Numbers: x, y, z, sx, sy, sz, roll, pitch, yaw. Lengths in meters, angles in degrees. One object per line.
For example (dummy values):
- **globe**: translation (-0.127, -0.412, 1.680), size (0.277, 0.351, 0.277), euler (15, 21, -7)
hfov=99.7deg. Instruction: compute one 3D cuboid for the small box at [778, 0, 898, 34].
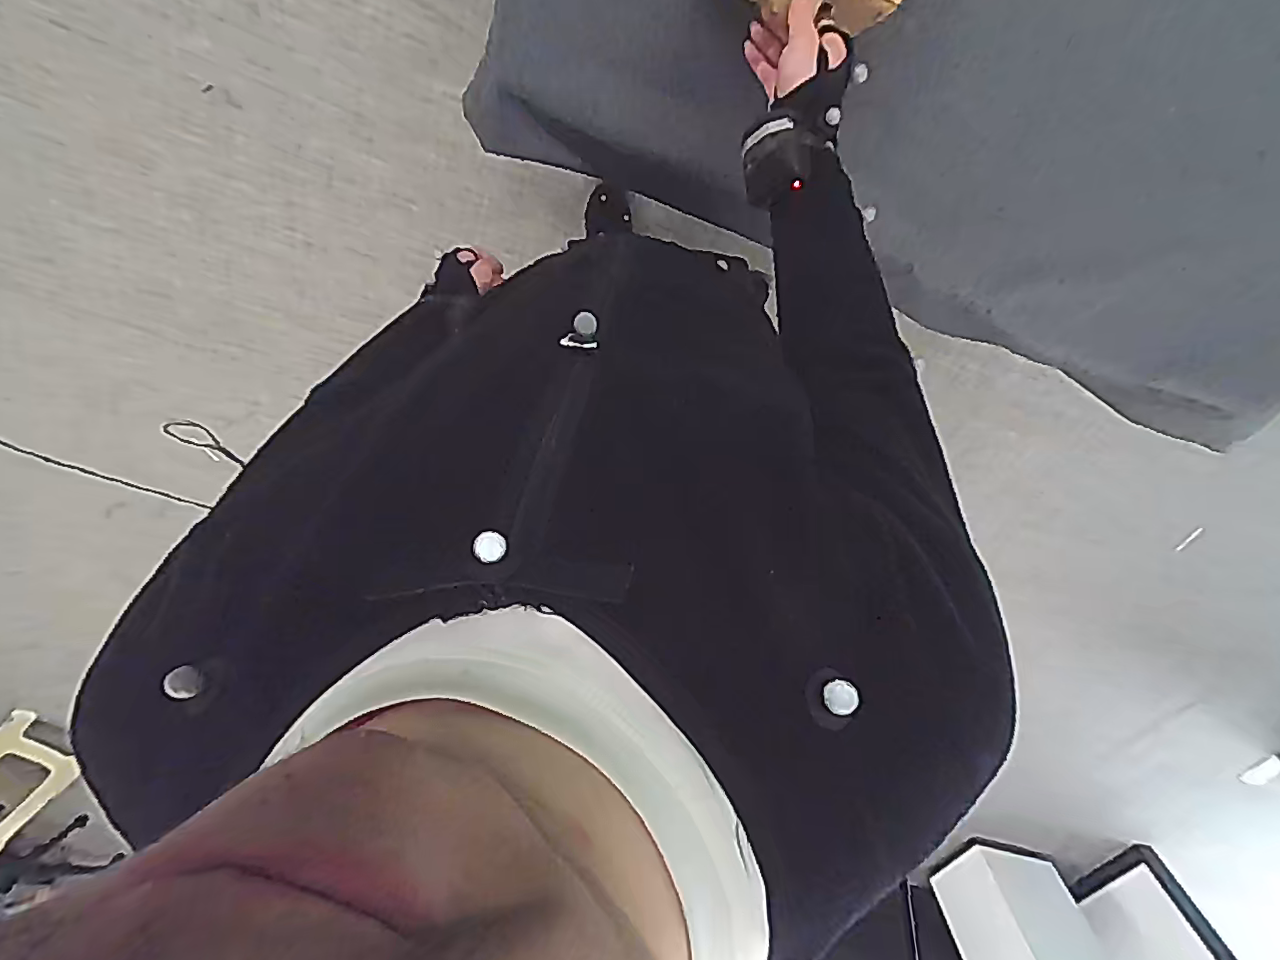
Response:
- **small box**: translation (0.177, -0.539, 0.473), size (0.168, 0.176, 0.179), euler (19, 117, -15)
